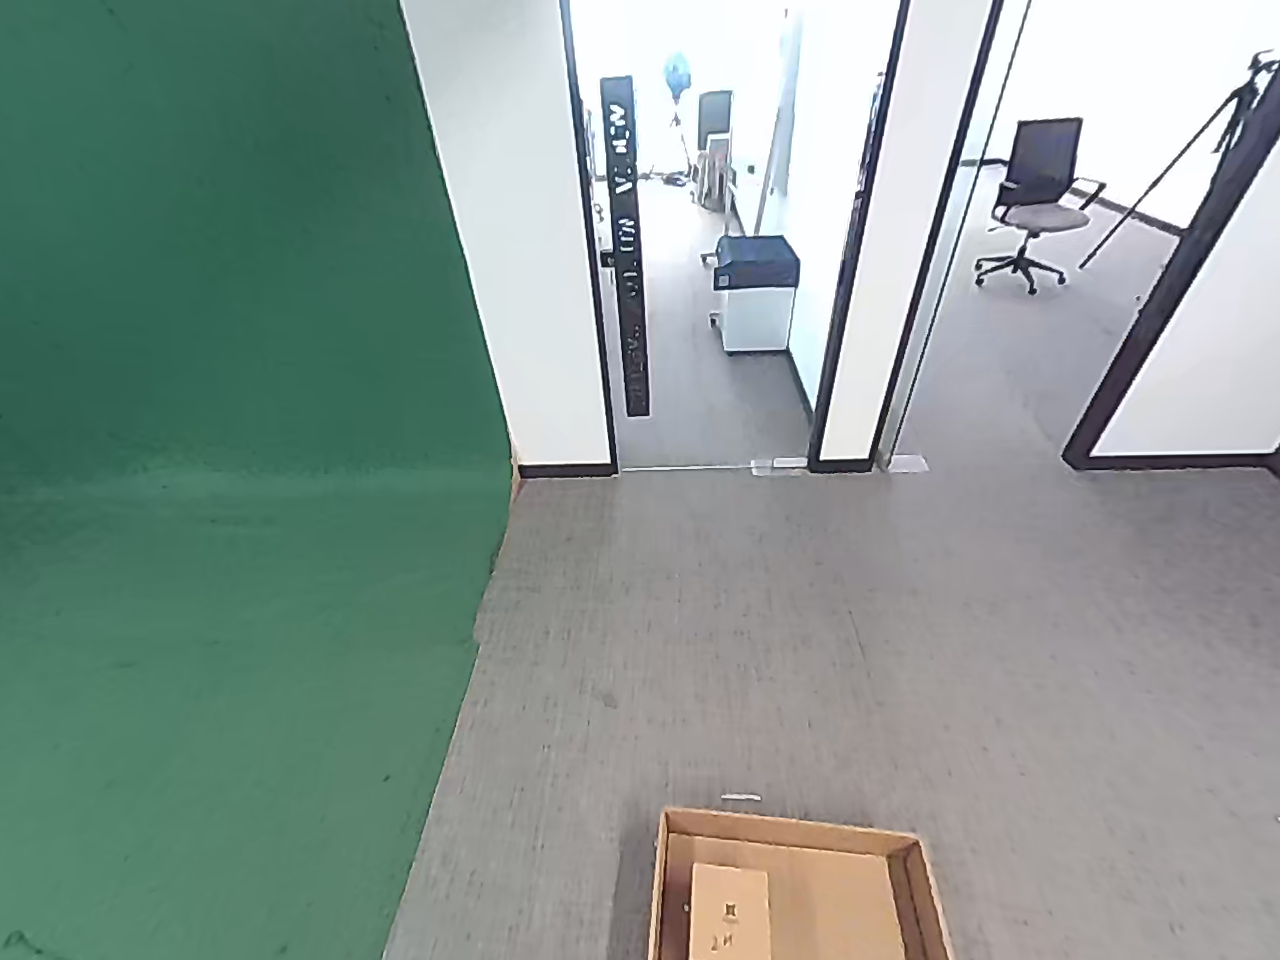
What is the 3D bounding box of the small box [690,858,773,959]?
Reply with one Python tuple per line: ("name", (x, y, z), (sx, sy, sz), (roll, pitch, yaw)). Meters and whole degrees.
("small box", (0.197, 0.971, 1.188), (0.168, 0.176, 0.179), (2, 39, 8))
